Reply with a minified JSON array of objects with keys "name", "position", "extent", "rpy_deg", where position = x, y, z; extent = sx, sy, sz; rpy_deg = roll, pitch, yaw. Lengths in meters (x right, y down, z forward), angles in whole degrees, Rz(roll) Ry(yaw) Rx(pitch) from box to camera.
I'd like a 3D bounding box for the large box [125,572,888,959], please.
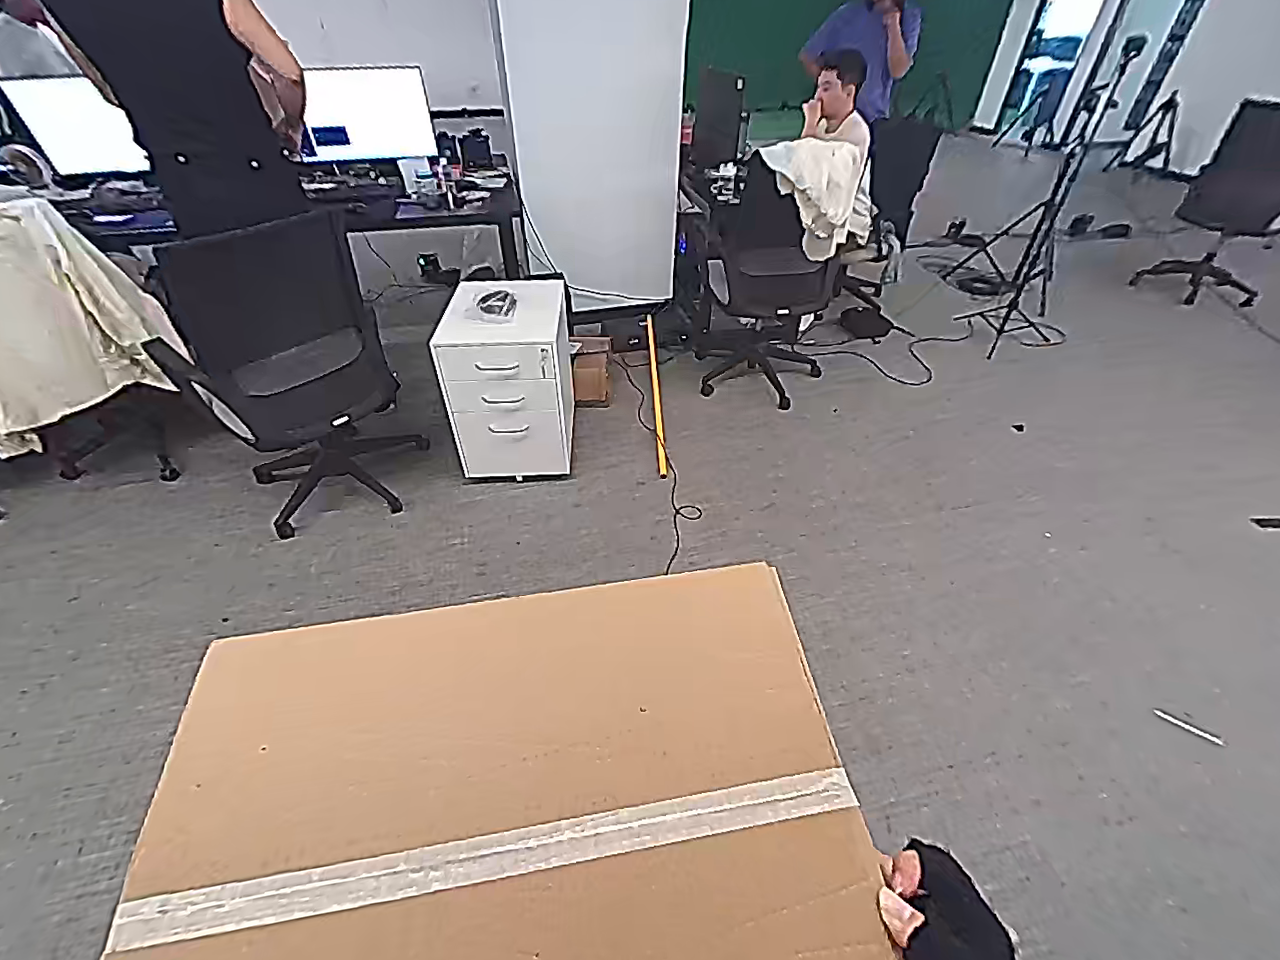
[{"name":"large box","position":[-0.076,0.307,0.431],"extent":[0.408,0.320,0.320],"rpy_deg":[-7,52,-5]}]
